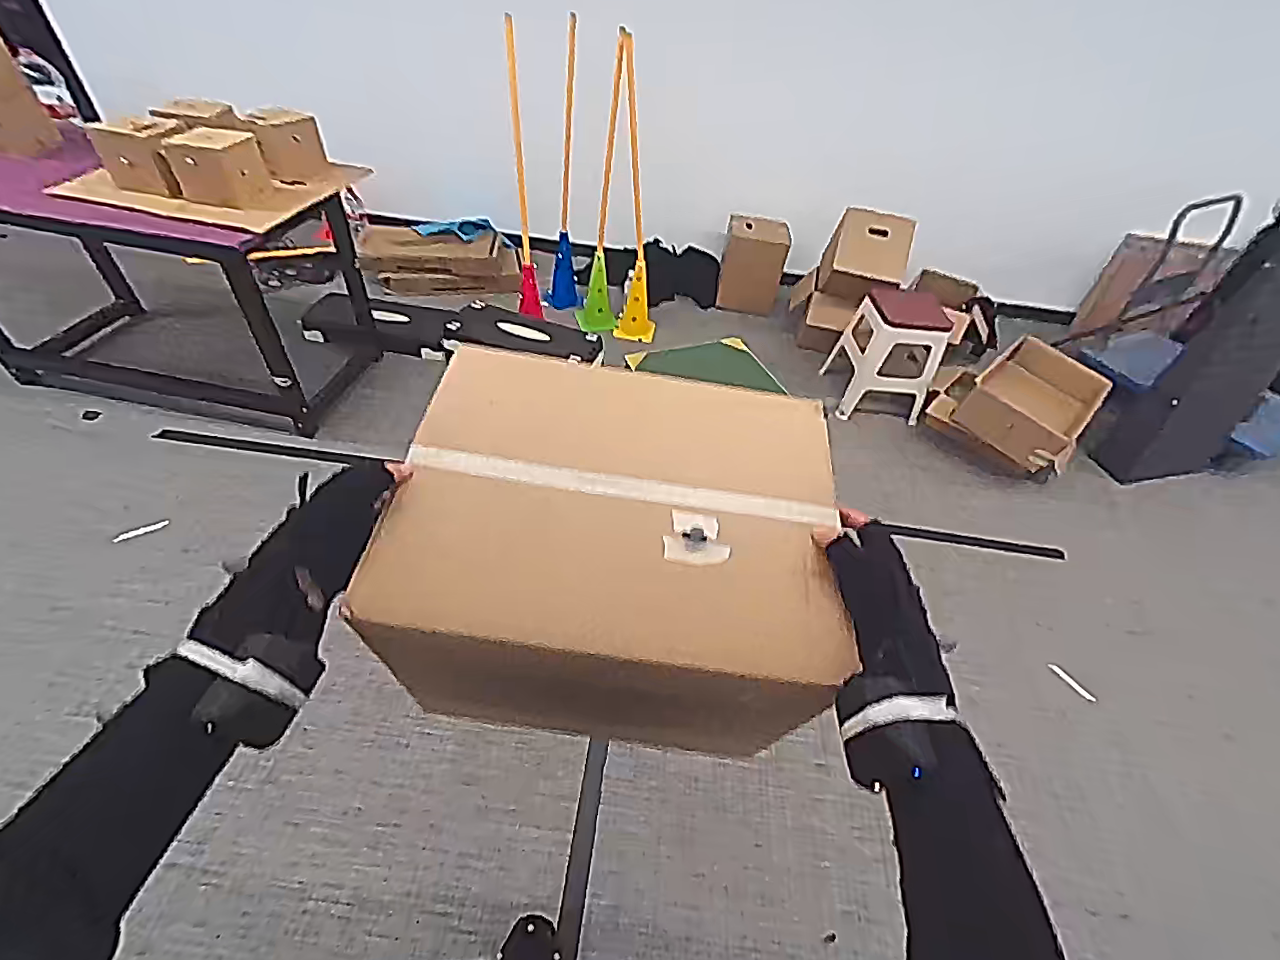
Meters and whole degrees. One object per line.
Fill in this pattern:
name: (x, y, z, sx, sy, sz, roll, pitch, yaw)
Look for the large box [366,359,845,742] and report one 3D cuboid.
large box: (-0.031, 0.099, 0.644, 0.408, 0.320, 0.320, 9, 55, -2)
